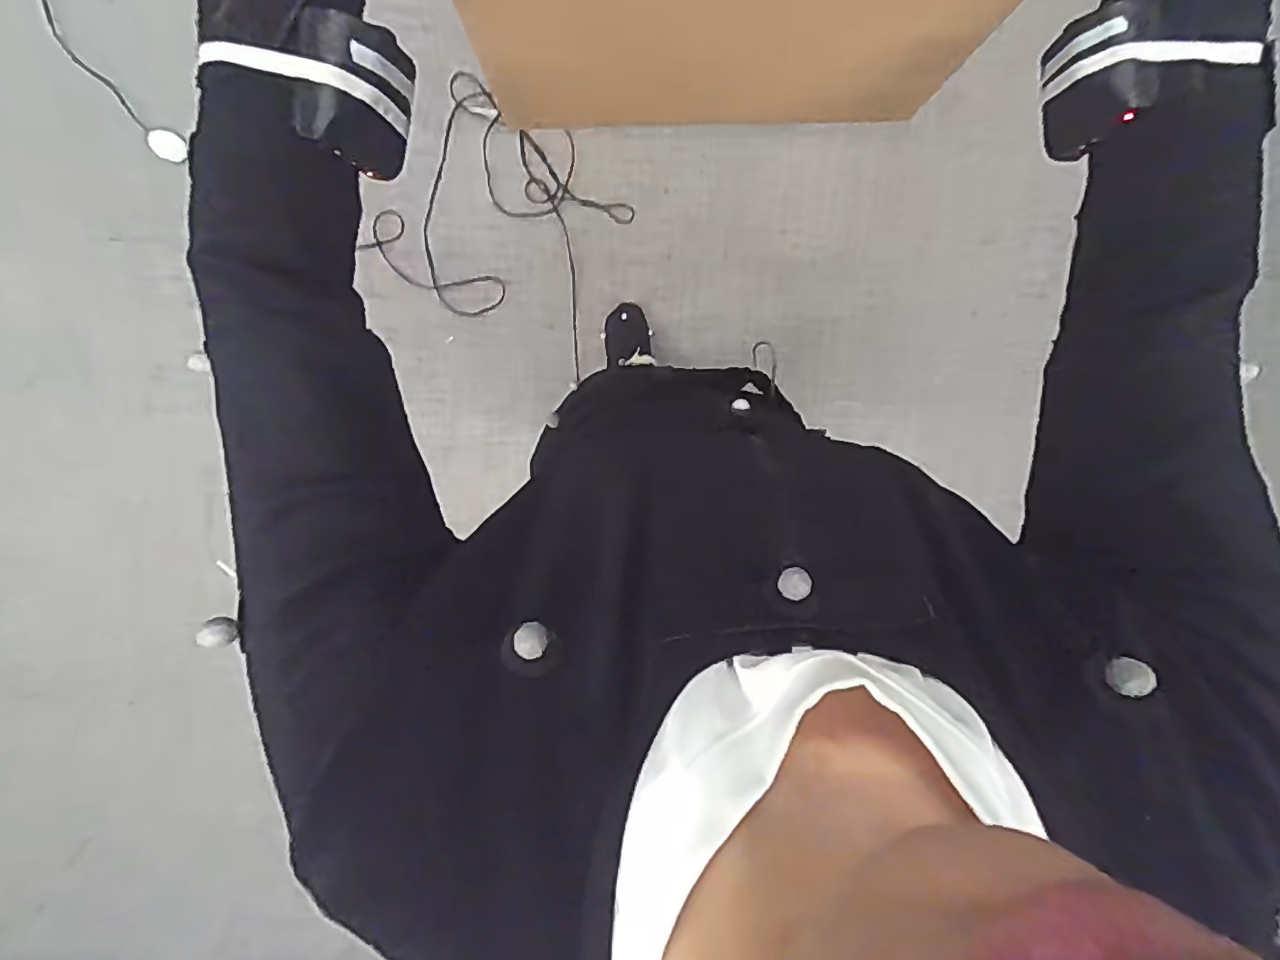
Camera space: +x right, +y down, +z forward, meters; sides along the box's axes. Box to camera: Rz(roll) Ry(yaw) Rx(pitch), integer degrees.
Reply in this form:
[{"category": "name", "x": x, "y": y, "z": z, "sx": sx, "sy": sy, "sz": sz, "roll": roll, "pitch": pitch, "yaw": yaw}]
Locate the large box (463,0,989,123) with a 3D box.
[{"category": "large box", "x": 0.061, "y": -0.496, "z": 0.377, "sx": 0.408, "sy": 0.320, "sz": 0.320, "roll": -3, "pitch": 98, "yaw": -2}]
